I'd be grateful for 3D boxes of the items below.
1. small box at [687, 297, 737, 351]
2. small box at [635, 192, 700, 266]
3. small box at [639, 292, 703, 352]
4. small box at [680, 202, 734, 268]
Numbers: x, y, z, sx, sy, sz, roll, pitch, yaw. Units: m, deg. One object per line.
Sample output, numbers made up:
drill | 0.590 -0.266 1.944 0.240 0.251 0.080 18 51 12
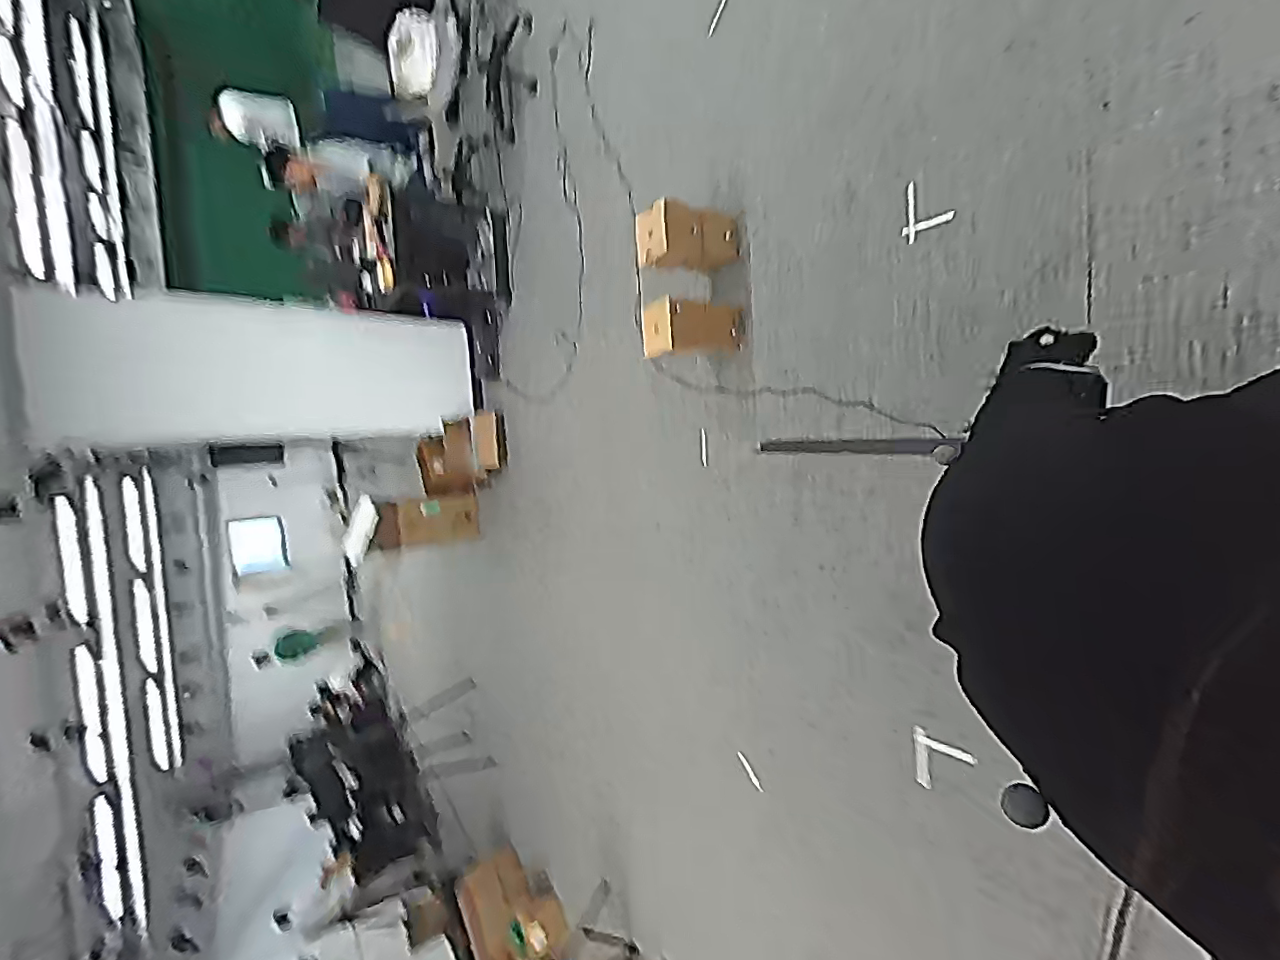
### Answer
small box | 0.245 -0.584 2.043 0.179 0.176 0.168 8 102 53
small box | 0.098 -0.884 1.921 0.168 0.176 0.179 1 95 54
small box | 0.115 -0.562 1.948 0.168 0.176 0.179 2 96 54
small box | 0.232 -0.903 2.016 0.179 0.176 0.168 2 96 54
